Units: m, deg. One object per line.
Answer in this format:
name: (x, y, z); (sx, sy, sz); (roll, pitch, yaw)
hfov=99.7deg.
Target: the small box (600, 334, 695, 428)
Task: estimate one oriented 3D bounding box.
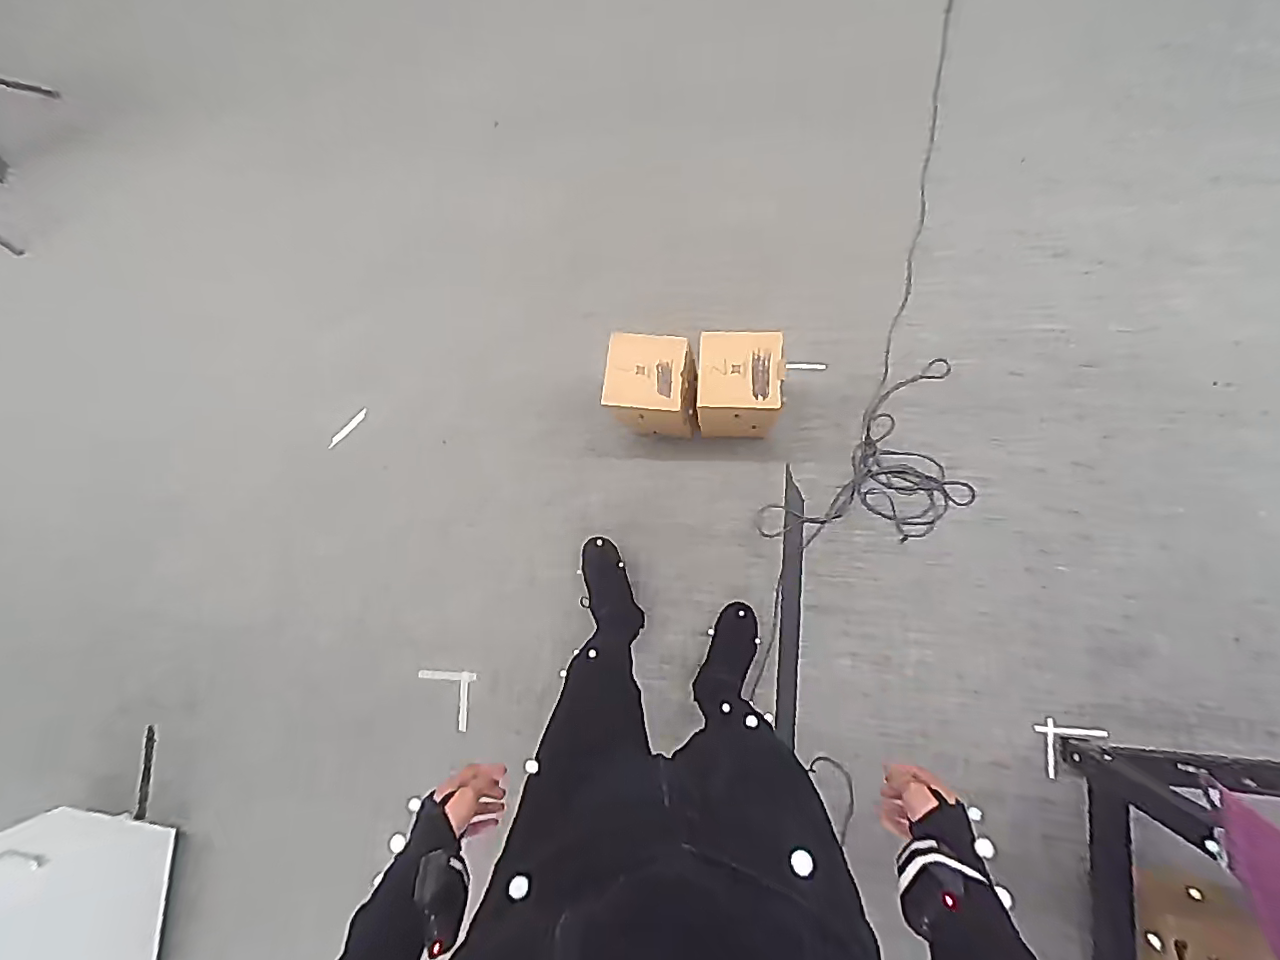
small box: (0.025, -0.219, 1.232); (0.179, 0.176, 0.168); (7, 85, 13)
